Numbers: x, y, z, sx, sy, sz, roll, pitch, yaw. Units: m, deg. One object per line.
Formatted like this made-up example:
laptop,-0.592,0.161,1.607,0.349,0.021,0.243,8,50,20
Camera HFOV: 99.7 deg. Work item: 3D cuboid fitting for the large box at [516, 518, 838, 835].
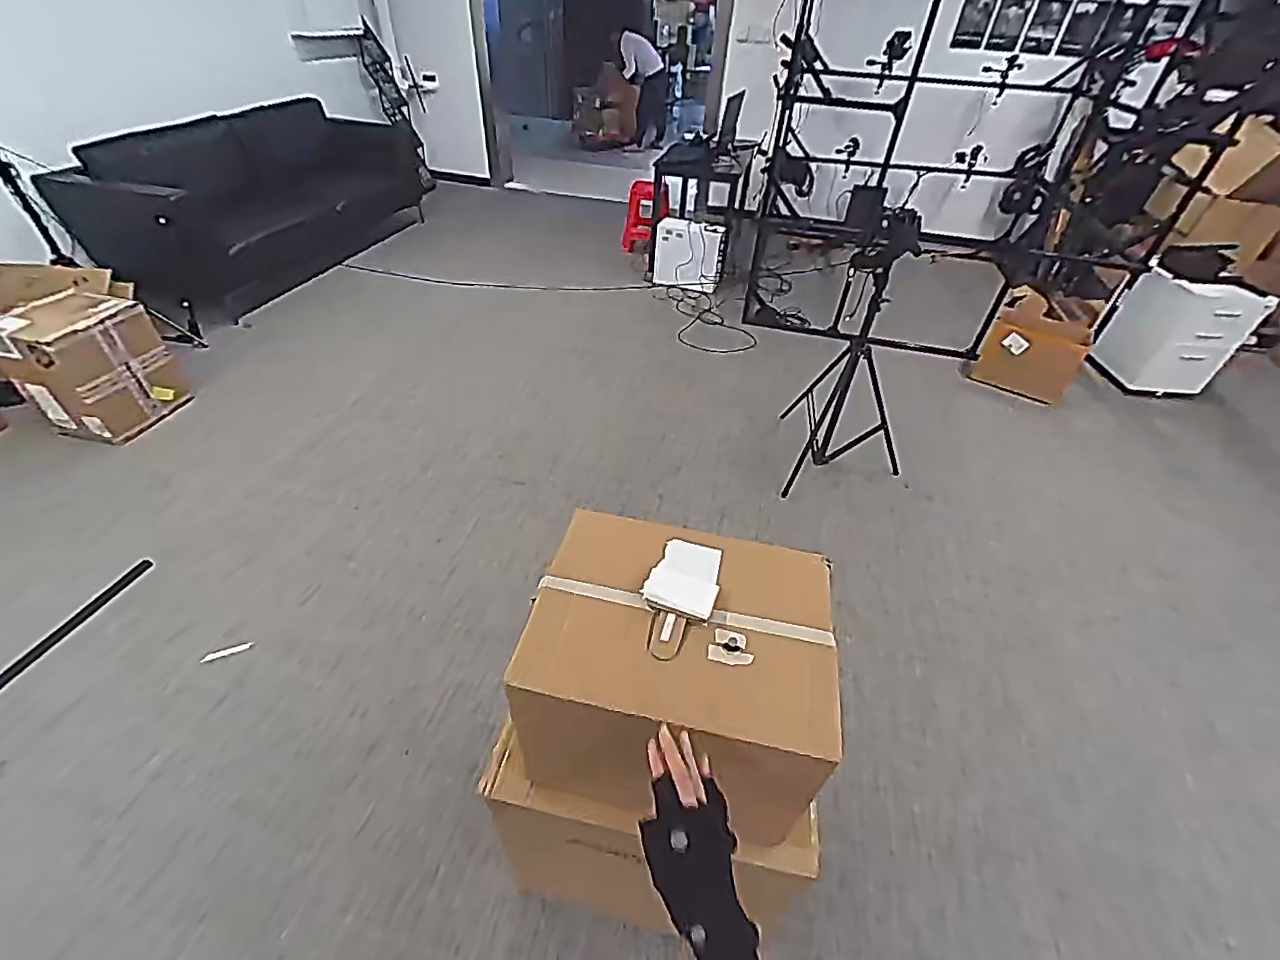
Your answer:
large box,0.054,0.303,0.857,0.408,0.320,0.320,10,42,6
